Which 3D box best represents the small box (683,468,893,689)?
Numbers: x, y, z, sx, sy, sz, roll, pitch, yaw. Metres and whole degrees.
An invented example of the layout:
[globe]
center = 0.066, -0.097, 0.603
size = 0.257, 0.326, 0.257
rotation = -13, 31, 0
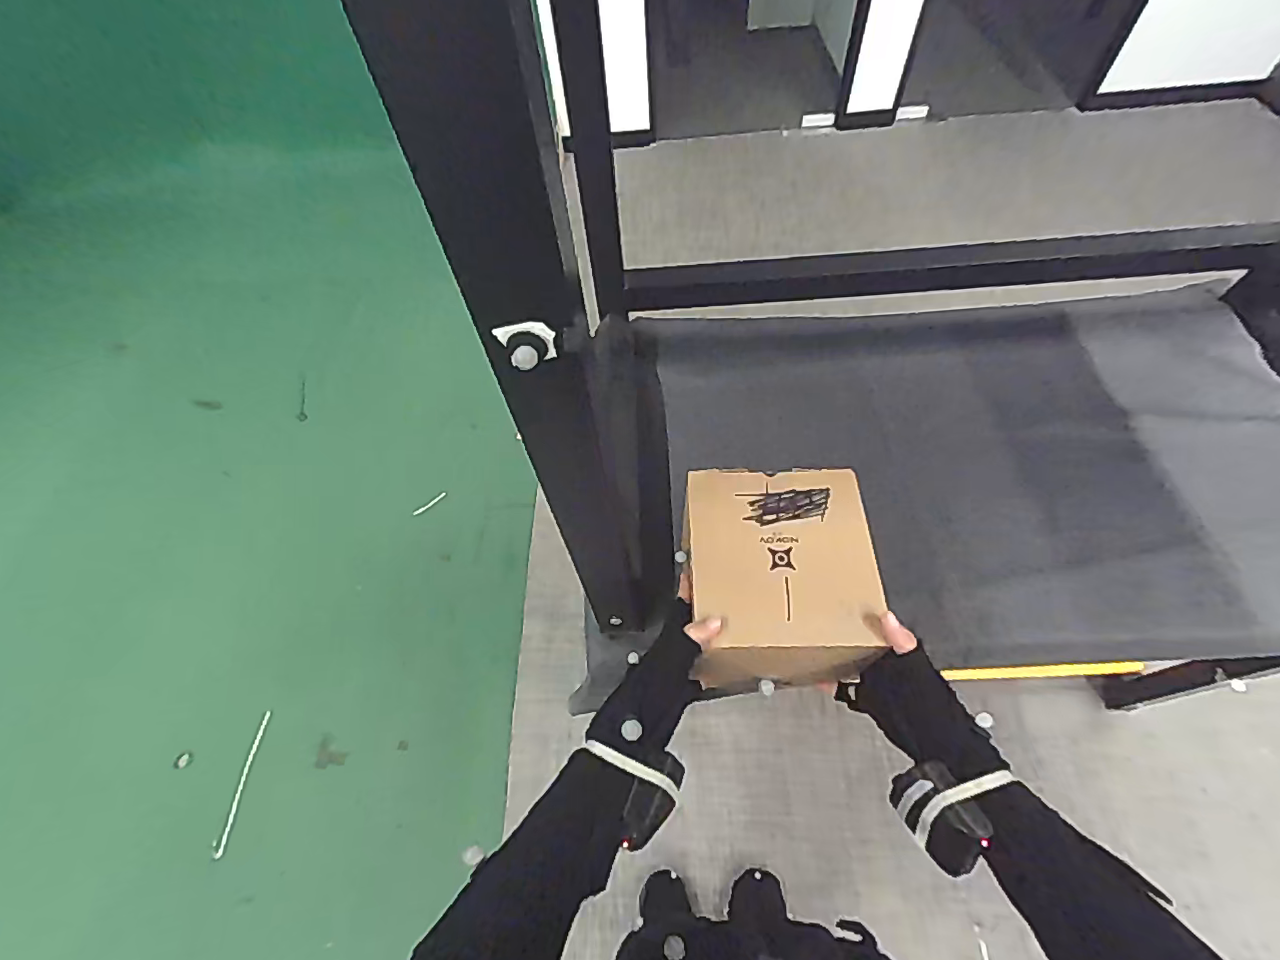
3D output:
[small box]
center = 0.131, 0.105, 0.558
size = 0.168, 0.176, 0.179
rotation = -1, 58, 2
